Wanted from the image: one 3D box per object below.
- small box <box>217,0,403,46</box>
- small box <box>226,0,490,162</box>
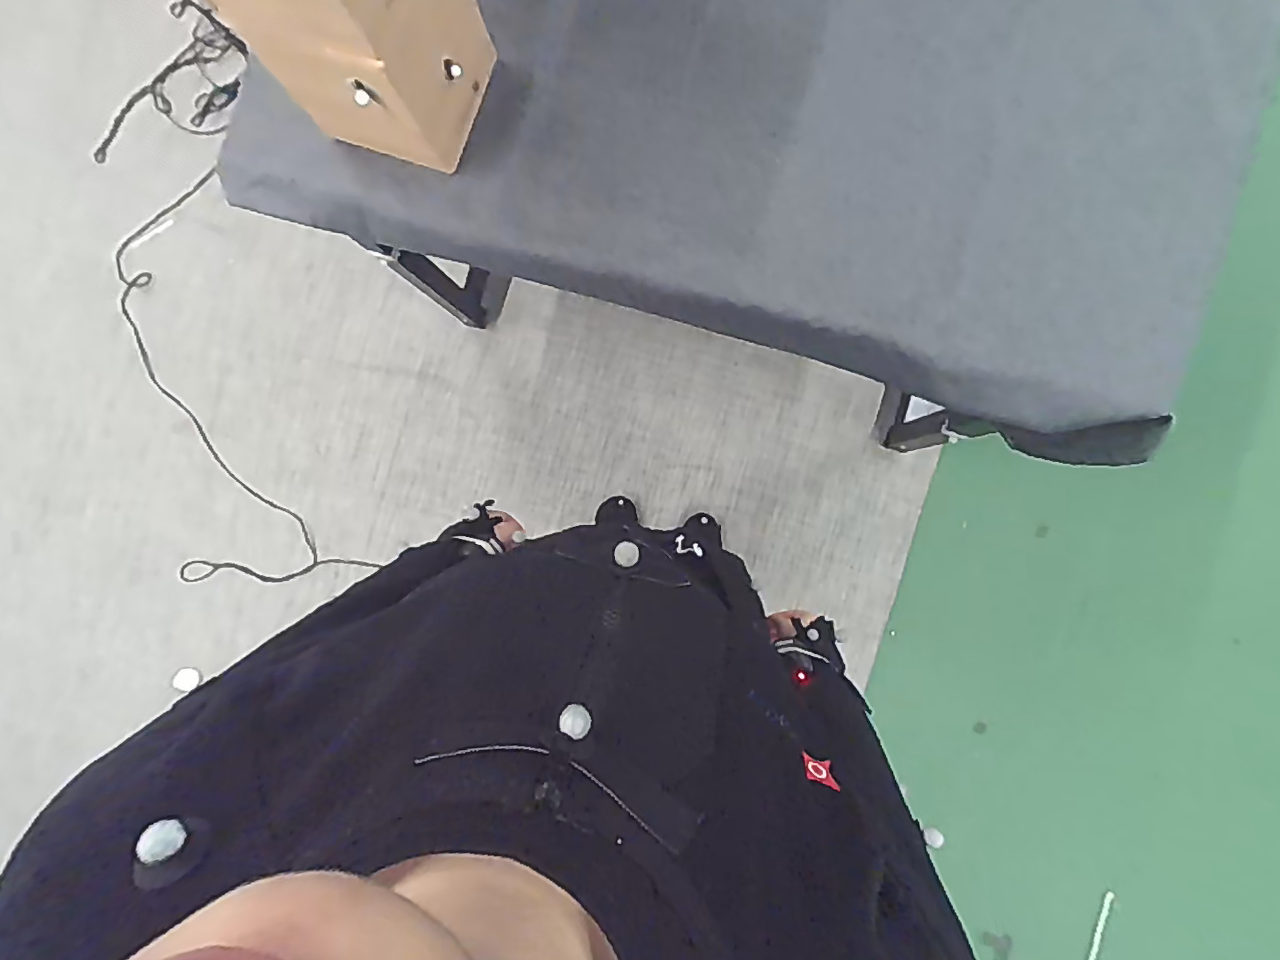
[{"bbox_3d":[-0.306,-0.507,0.441,0.179,0.176,0.168,16,89,5],"label":"small box"},{"bbox_3d":[-0.293,-0.495,0.604,0.179,0.176,0.168,19,88,4],"label":"small box"}]
